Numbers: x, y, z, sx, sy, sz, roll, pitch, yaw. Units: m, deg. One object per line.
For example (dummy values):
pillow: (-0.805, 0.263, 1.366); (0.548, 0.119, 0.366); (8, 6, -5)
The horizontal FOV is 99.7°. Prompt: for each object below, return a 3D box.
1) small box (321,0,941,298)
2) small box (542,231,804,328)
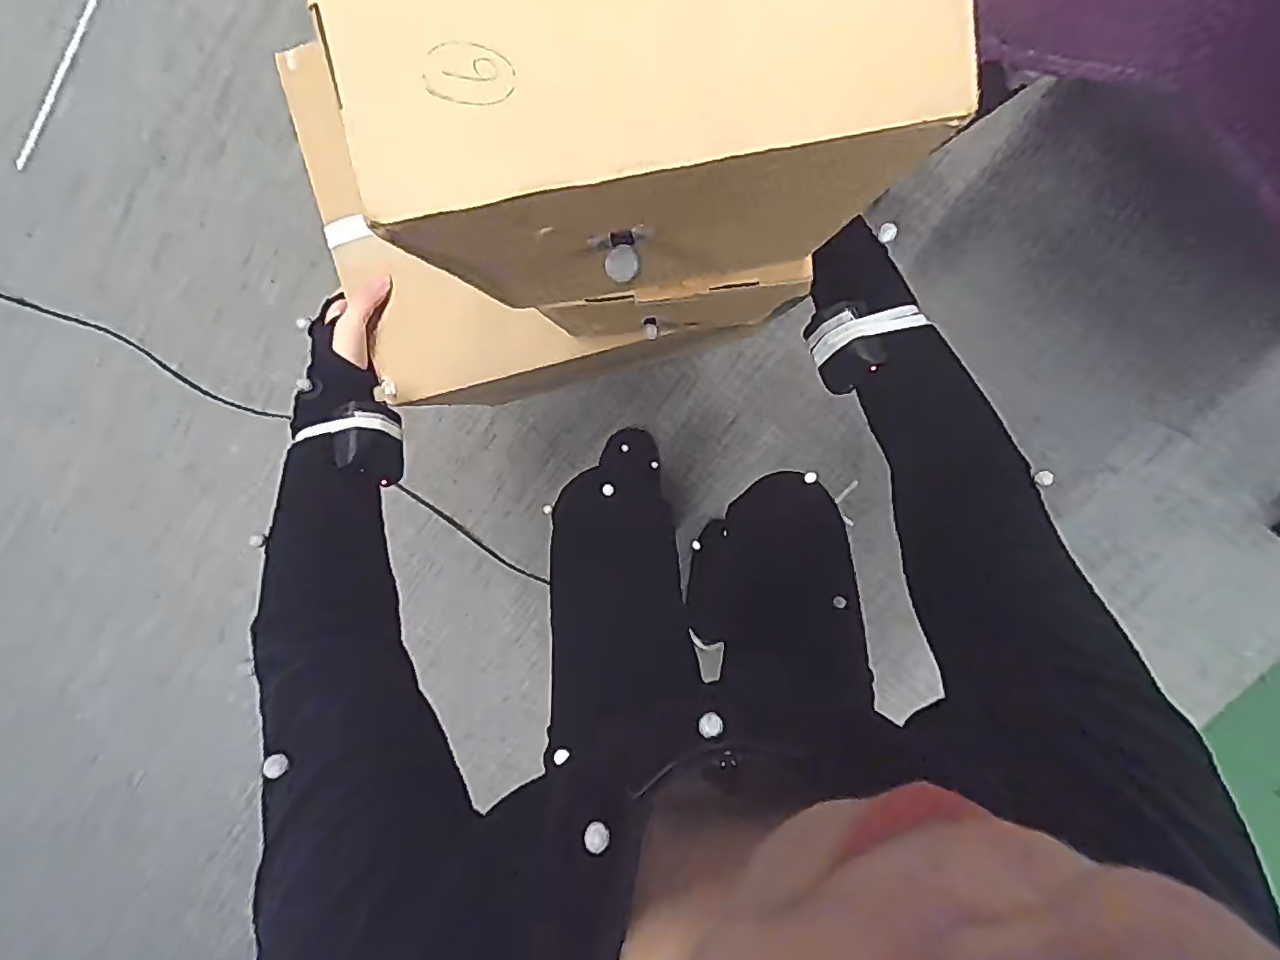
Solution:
small box: (-0.006, -0.182, 0.226); (0.179, 0.176, 0.168); (-9, 101, 4)
small box: (0.012, -0.212, 0.387); (0.168, 0.176, 0.179); (-5, 101, 3)
